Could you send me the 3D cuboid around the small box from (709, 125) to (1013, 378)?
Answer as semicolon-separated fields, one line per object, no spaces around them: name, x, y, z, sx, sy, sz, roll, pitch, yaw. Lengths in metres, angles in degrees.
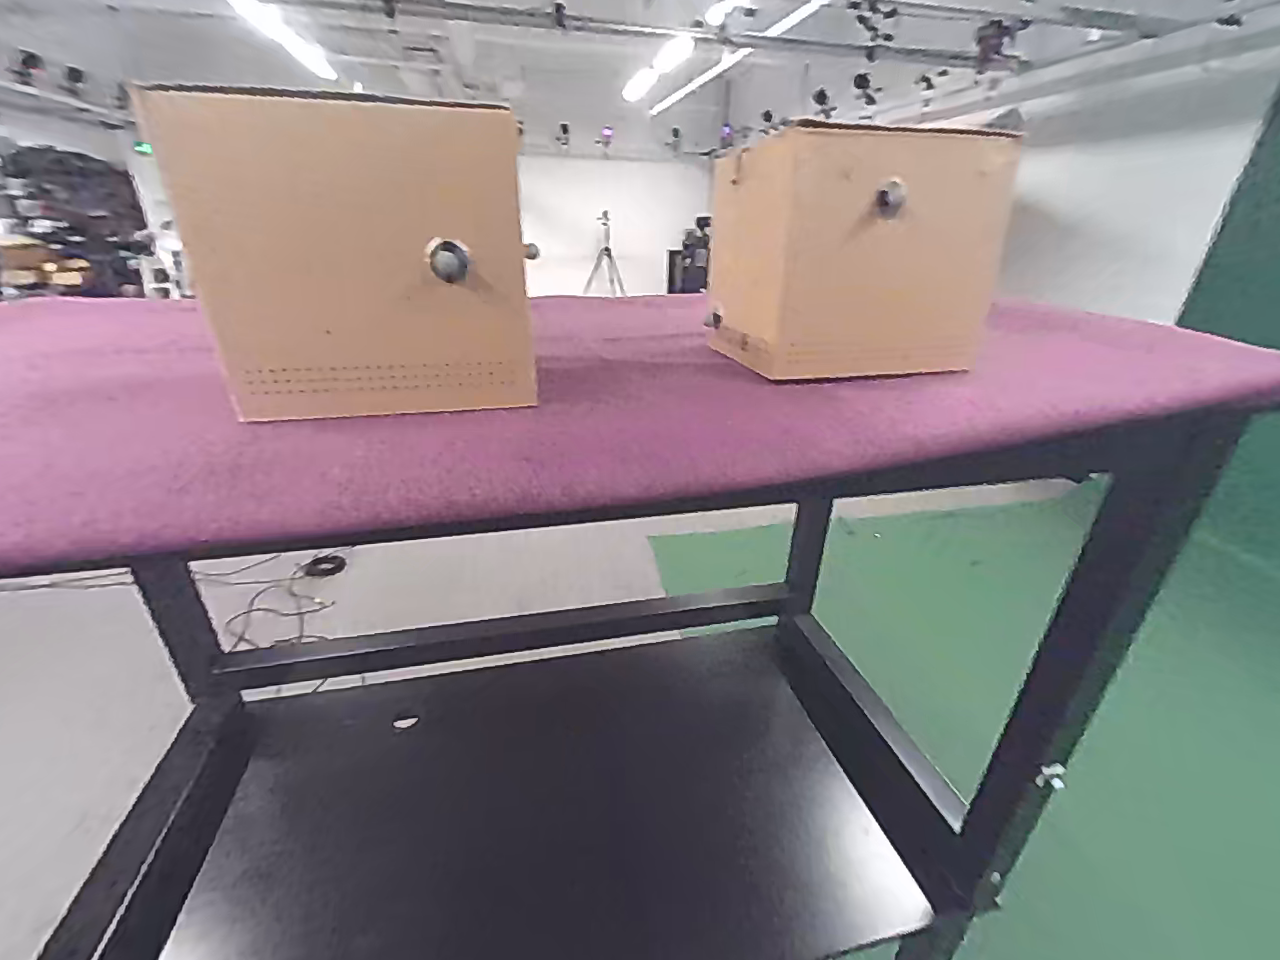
small box;0.164;-0.187;0.464;0.179;0.176;0.168;-5;24;-11

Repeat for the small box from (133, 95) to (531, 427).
small box;-0.170;-0.144;0.371;0.179;0.176;0.168;-6;27;-13
